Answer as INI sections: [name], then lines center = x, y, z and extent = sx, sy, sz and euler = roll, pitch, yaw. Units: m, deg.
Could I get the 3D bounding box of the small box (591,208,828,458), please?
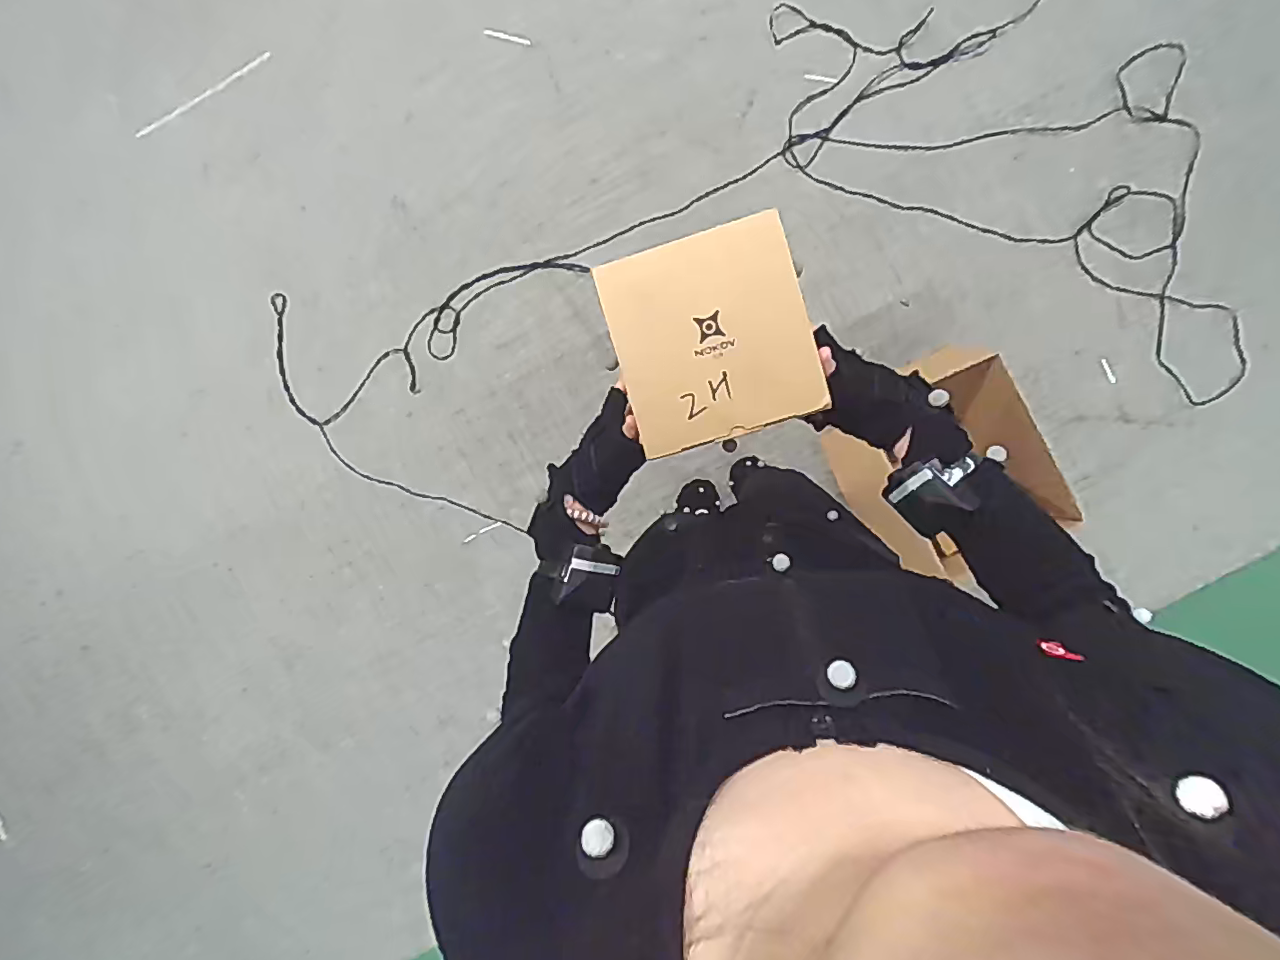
[small box]
center = 0.062, -0.127, 0.534
extent = 0.168, 0.176, 0.179
euler = -16, 93, 5
